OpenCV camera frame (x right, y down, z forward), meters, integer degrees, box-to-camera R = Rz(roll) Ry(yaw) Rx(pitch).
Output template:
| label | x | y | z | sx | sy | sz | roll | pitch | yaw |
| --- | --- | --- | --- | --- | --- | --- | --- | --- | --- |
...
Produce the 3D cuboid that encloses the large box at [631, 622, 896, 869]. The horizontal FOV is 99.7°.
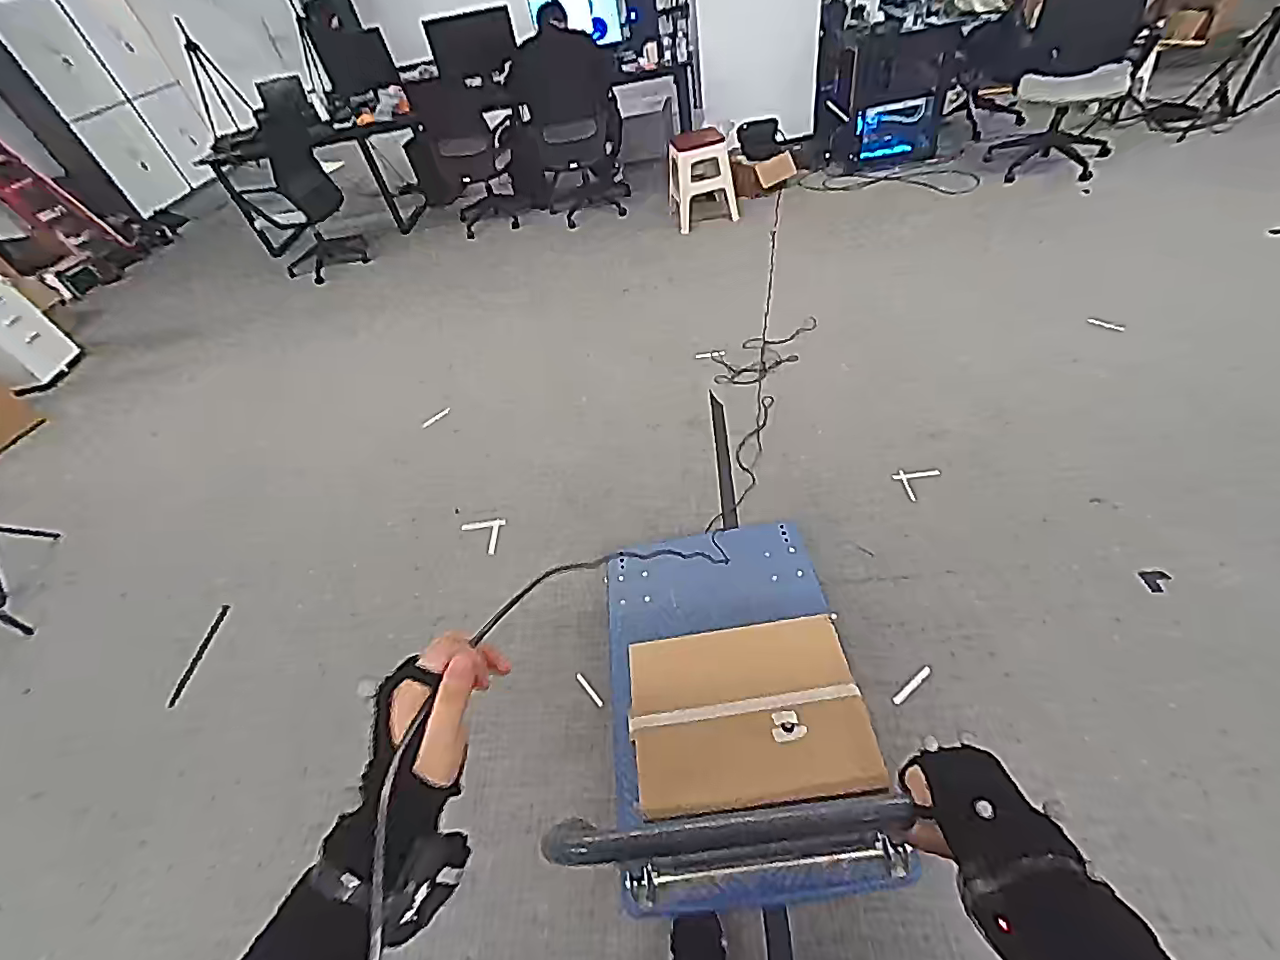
| label | x | y | z | sx | sy | sz | roll | pitch | yaw |
| --- | --- | --- | --- | --- | --- | --- | --- | --- | --- |
| large box | 0.212 | 0.519 | 1.052 | 0.408 | 0.320 | 0.320 | -10 | 45 | 3 |
